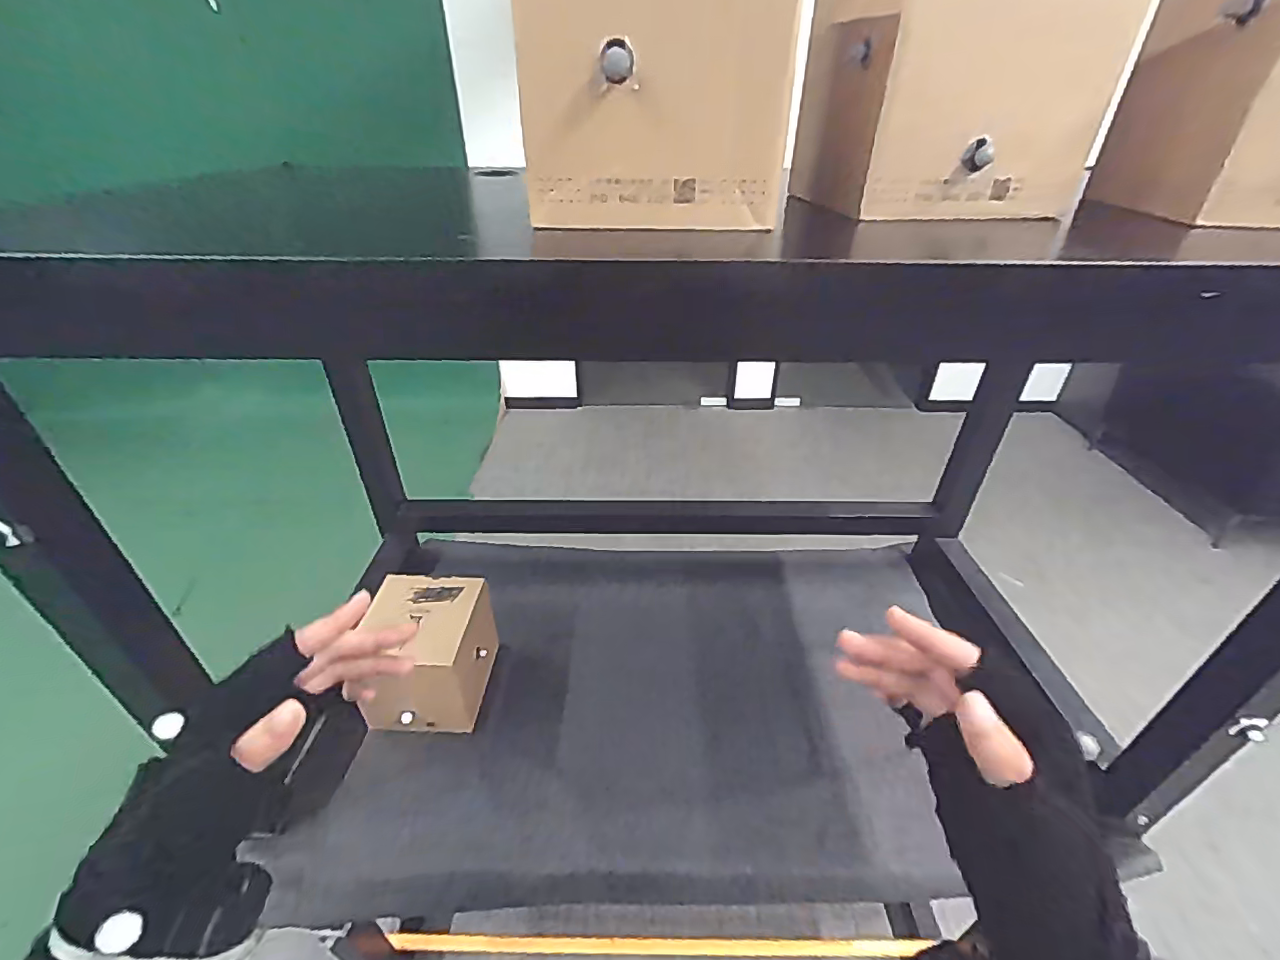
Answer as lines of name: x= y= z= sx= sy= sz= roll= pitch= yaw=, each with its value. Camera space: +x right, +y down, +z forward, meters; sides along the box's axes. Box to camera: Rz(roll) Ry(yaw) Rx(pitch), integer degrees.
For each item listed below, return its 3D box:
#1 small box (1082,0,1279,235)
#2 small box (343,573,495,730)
small box: x=0.483 y=-0.280 z=0.396 sx=0.168 sy=0.176 sz=0.179 roll=7 pitch=35 yaw=9
small box: x=-0.339 y=0.273 z=0.873 sx=0.168 sy=0.176 sz=0.179 roll=1 pitch=35 yaw=1
